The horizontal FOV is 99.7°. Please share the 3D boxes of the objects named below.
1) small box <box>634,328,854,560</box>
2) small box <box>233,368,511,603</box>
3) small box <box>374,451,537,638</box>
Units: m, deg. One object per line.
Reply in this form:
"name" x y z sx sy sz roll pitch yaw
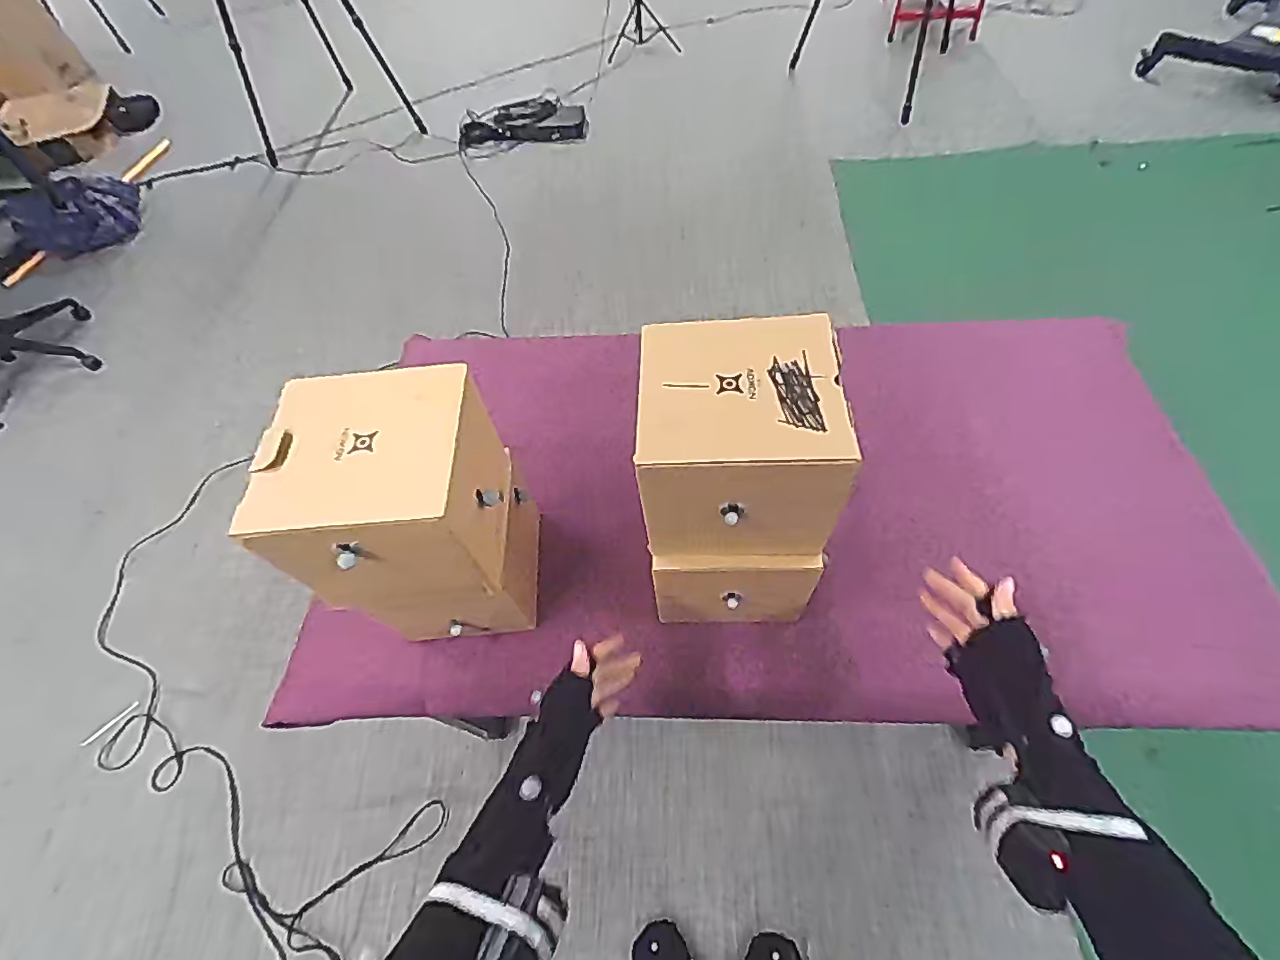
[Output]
"small box" 0.092 -0.029 0.536 0.179 0.176 0.168 -1 57 6
"small box" -0.235 0.013 0.533 0.179 0.176 0.168 -5 58 2
"small box" -0.230 0.085 0.682 0.168 0.176 0.179 -5 58 0
